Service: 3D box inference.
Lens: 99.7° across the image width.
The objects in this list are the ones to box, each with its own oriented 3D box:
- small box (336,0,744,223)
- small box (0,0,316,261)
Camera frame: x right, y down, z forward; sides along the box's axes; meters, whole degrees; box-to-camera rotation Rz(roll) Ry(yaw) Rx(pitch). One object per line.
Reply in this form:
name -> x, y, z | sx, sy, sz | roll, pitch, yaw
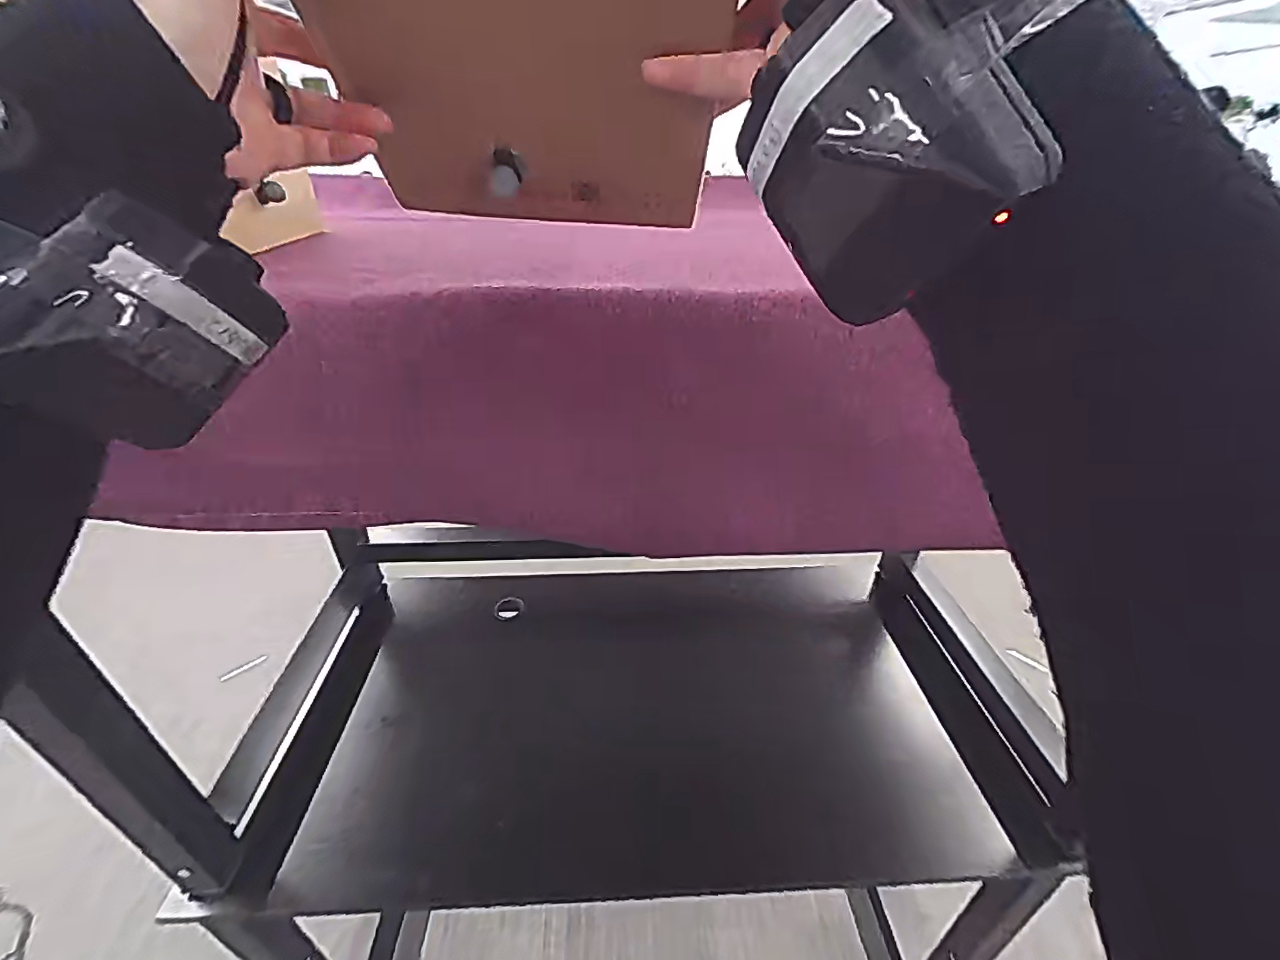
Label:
small box -> -0.041, -0.254, 0.250 | 0.168, 0.176, 0.179 | 2, 76, -2
small box -> -0.367, -0.262, 0.390 | 0.168, 0.176, 0.179 | -2, 32, -3
